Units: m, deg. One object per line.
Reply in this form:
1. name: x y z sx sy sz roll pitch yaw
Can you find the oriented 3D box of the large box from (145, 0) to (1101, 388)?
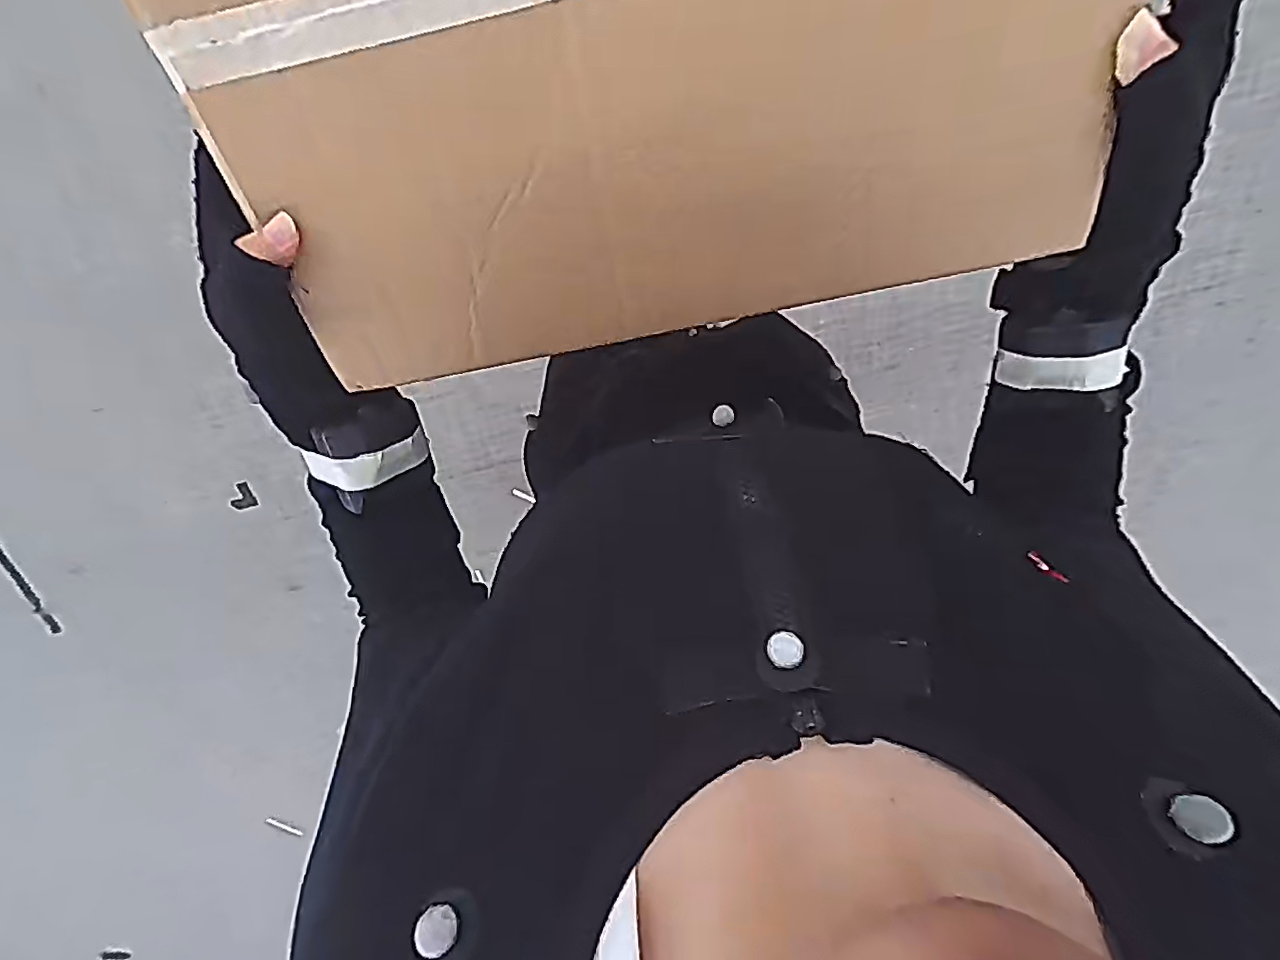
1. large box: -0.008 -0.298 0.342 0.408 0.320 0.320 -10 124 5
